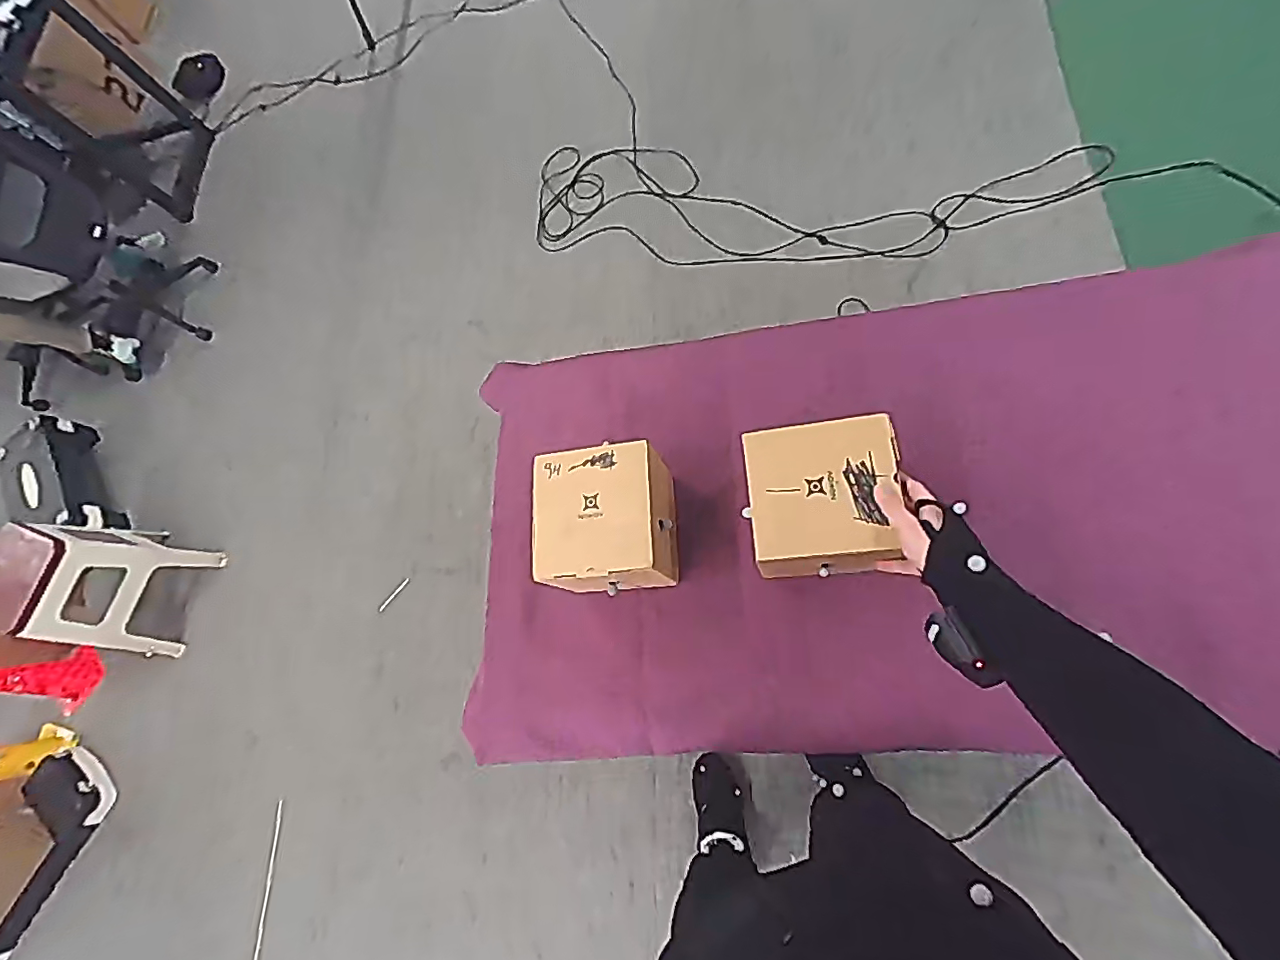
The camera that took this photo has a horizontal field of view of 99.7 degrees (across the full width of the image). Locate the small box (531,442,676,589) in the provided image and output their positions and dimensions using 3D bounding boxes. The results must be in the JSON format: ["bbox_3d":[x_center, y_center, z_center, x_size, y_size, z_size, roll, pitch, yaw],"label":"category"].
[{"bbox_3d":[-0.046,0.063,0.781,0.168,0.176,0.179,-7,72,13],"label":"small box"}]

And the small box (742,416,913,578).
[{"bbox_3d":[0.235,0.032,0.710,0.179,0.176,0.168,-8,71,15],"label":"small box"}]
